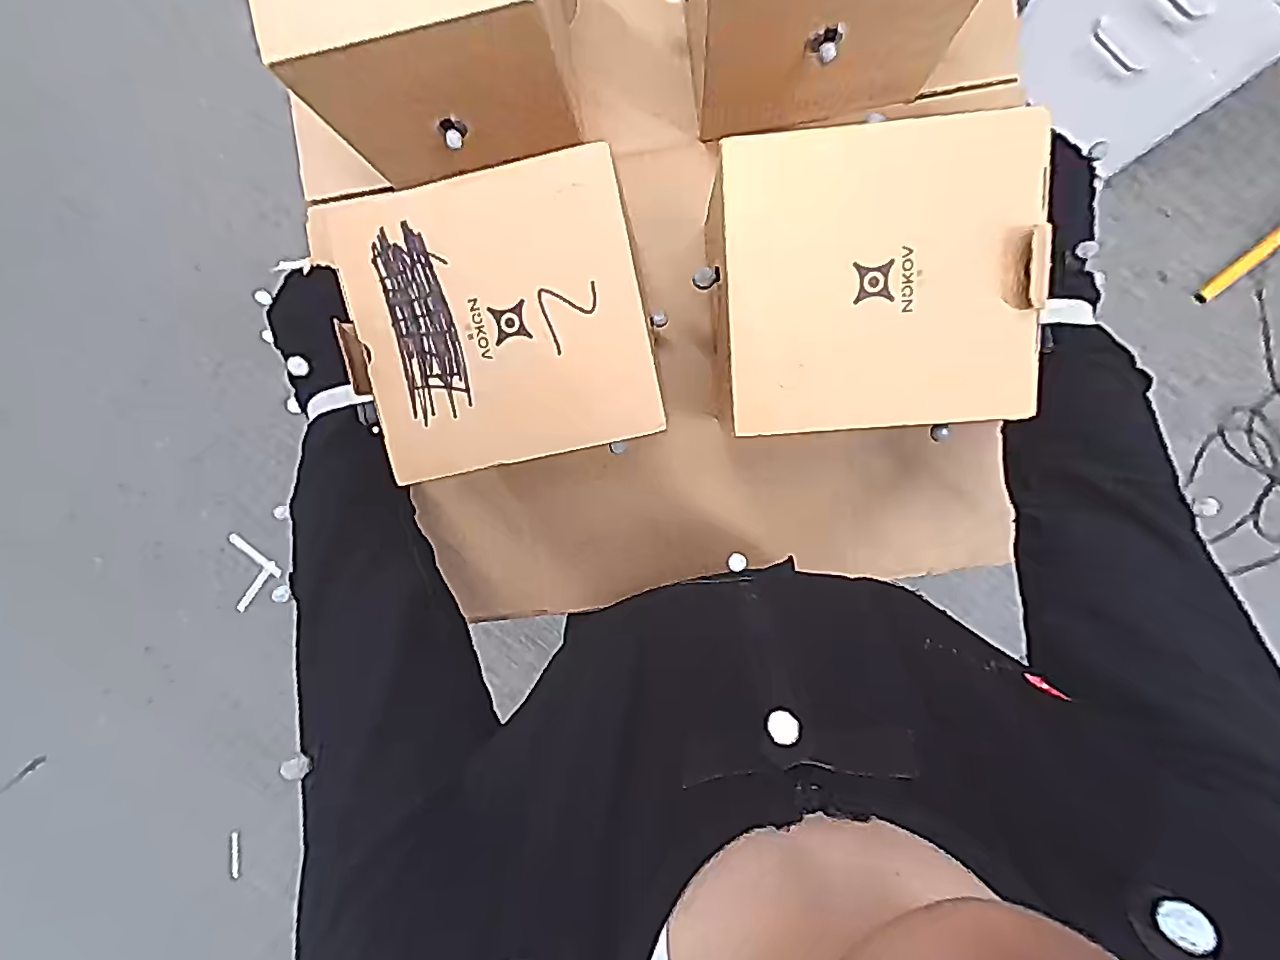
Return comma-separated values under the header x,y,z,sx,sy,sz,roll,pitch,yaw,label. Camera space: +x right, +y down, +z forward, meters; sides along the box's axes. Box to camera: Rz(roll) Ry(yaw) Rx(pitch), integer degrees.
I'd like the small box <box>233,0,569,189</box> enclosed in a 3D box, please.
x,y,z,sx,sy,sz,roll,pitch,yaw,label
-0.155,-0.335,0.385,0.168,0.176,0.179,-9,91,4,small box
